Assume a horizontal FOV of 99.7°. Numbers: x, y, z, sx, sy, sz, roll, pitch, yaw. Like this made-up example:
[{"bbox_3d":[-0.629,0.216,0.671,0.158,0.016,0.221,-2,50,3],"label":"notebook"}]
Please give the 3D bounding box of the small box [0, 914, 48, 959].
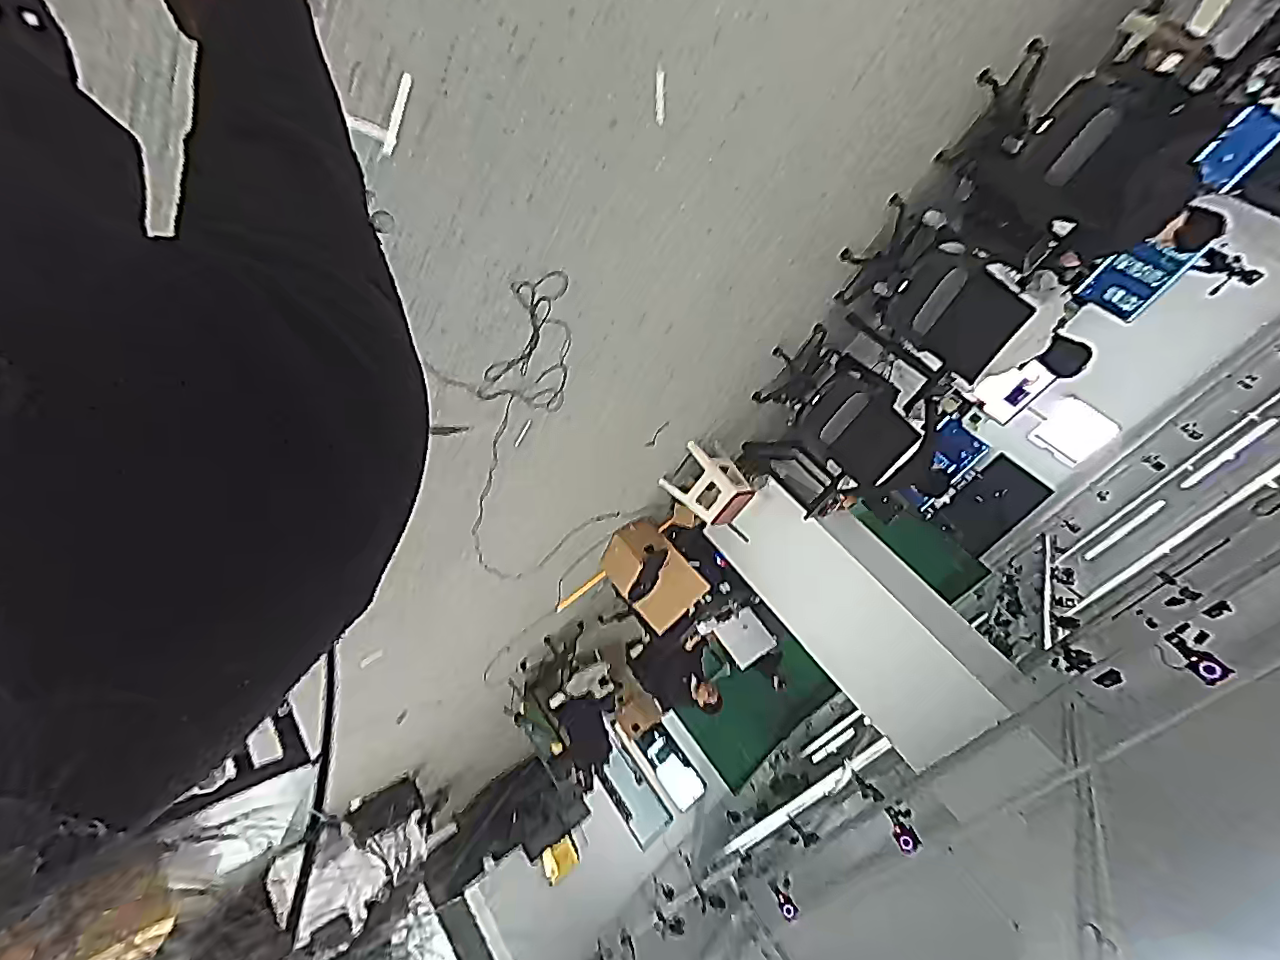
[{"bbox_3d":[-1.477,1.143,1.227,0.168,0.176,0.179,-3,136,-53],"label":"small box"}]
